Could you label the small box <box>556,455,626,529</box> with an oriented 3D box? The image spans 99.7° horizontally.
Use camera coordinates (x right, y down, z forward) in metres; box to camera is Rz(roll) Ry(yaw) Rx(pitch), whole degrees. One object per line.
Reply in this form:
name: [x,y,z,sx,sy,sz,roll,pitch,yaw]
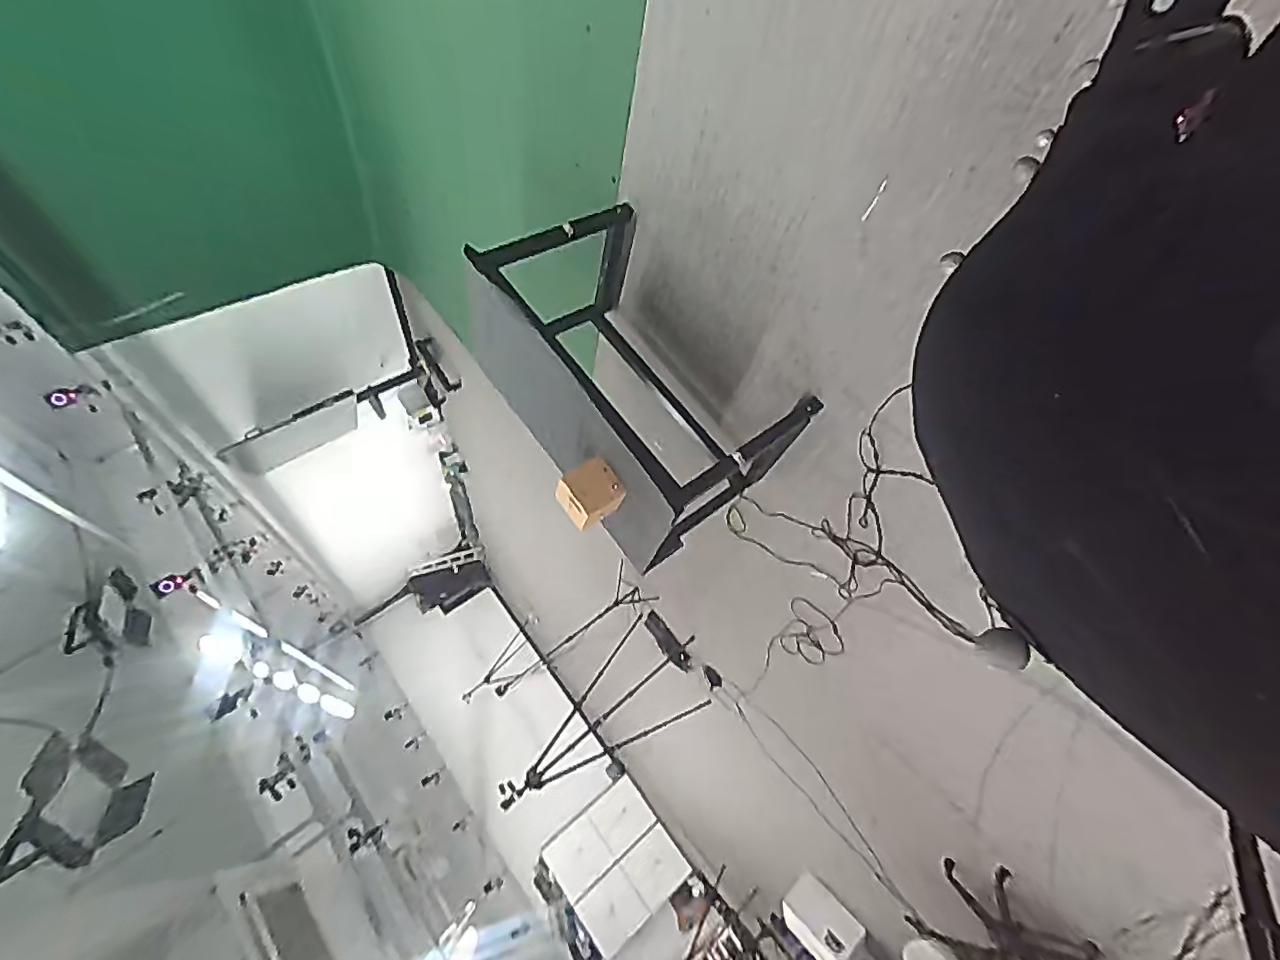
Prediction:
small box: [-0.170,0.039,1.882,0.168,0.176,0.179,53,155,11]
